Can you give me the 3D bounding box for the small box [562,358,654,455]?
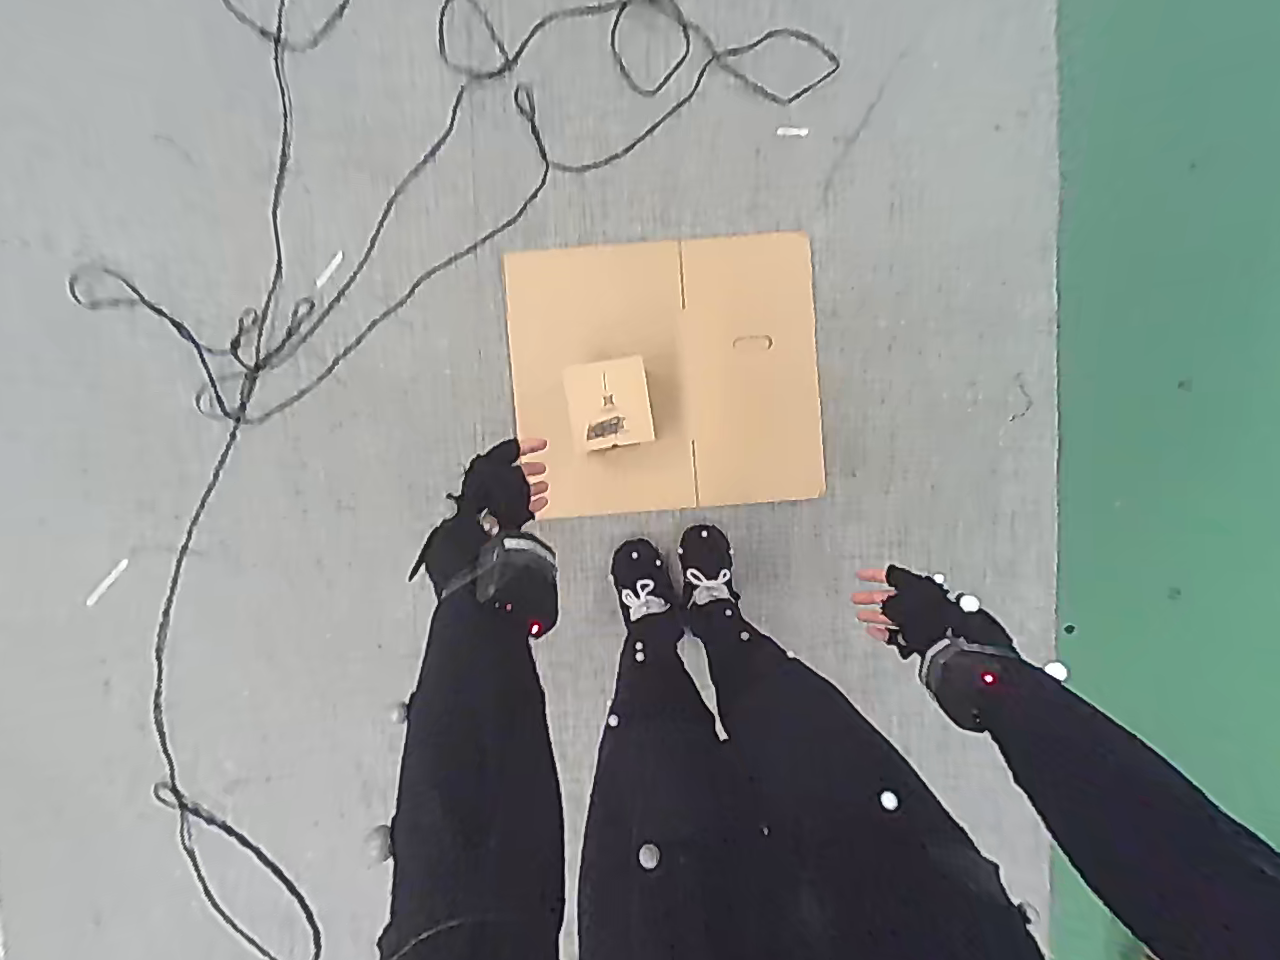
[{"bbox_3d":[-0.061,-0.151,1.155,0.168,0.176,0.179,-9,92,1],"label":"small box"}]
